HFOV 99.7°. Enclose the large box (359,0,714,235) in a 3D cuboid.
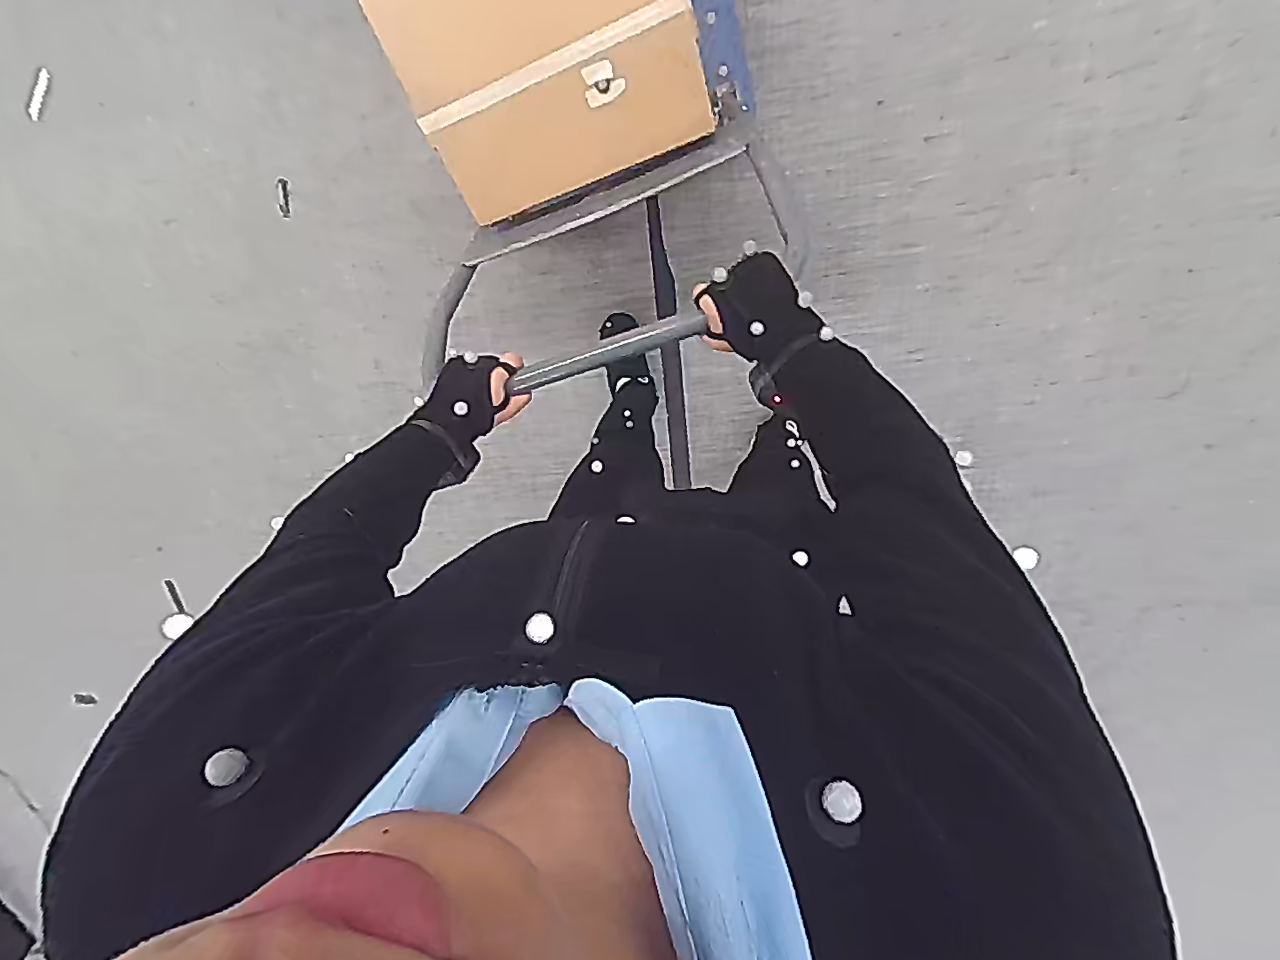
[{"bbox_3d":[-0.129,-0.654,0.853,0.408,0.320,0.320,-16,130,14],"label":"large box"}]
